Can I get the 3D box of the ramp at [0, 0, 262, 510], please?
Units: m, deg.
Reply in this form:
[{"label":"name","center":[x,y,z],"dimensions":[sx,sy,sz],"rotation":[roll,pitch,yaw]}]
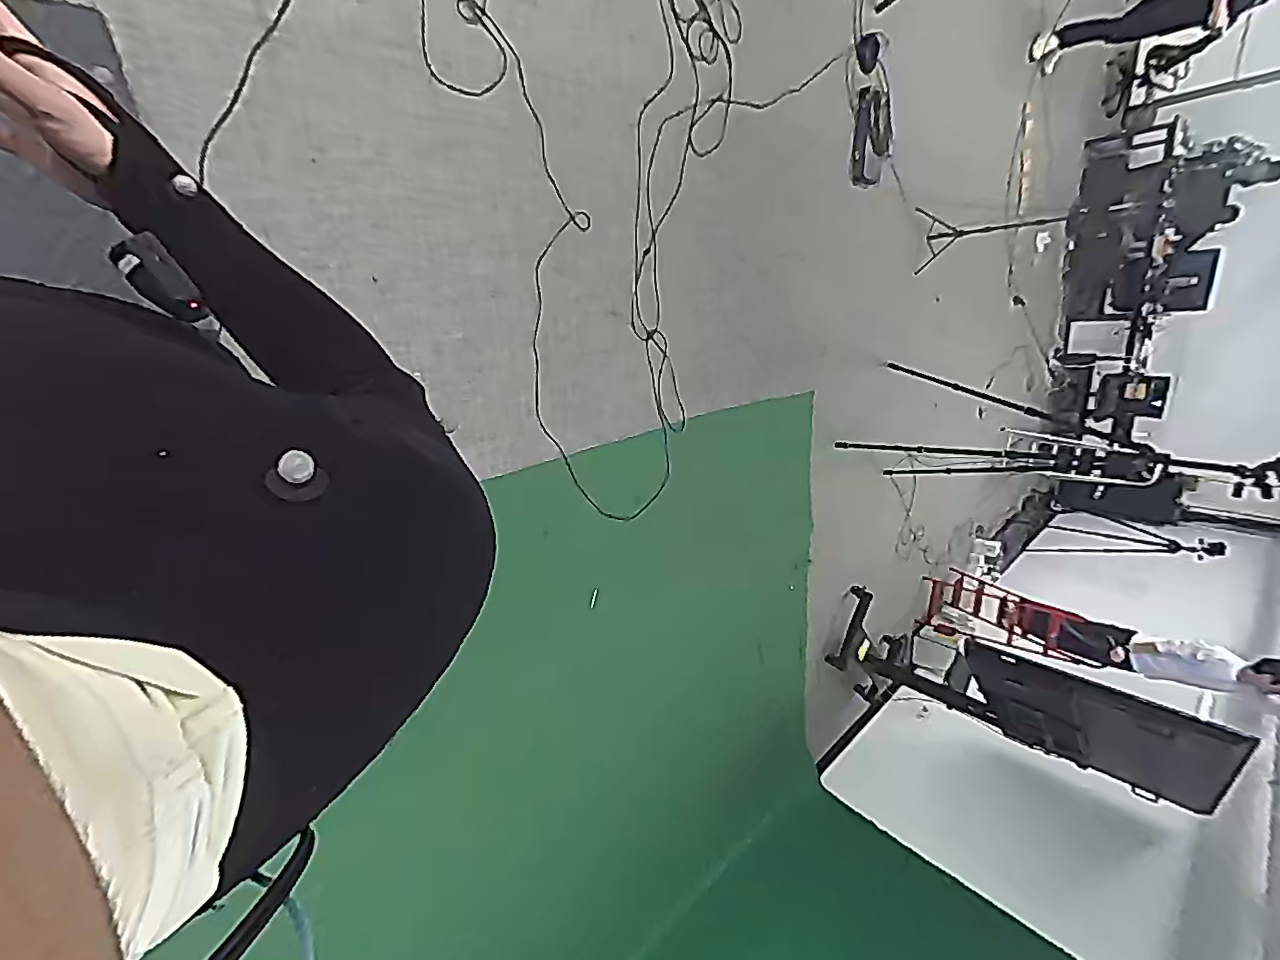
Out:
[{"label":"ramp","center":[-1.248,-0.476,1.134],"dimensions":[0.509,0.206,0.991],"rotation":[-22,114,-35]}]
